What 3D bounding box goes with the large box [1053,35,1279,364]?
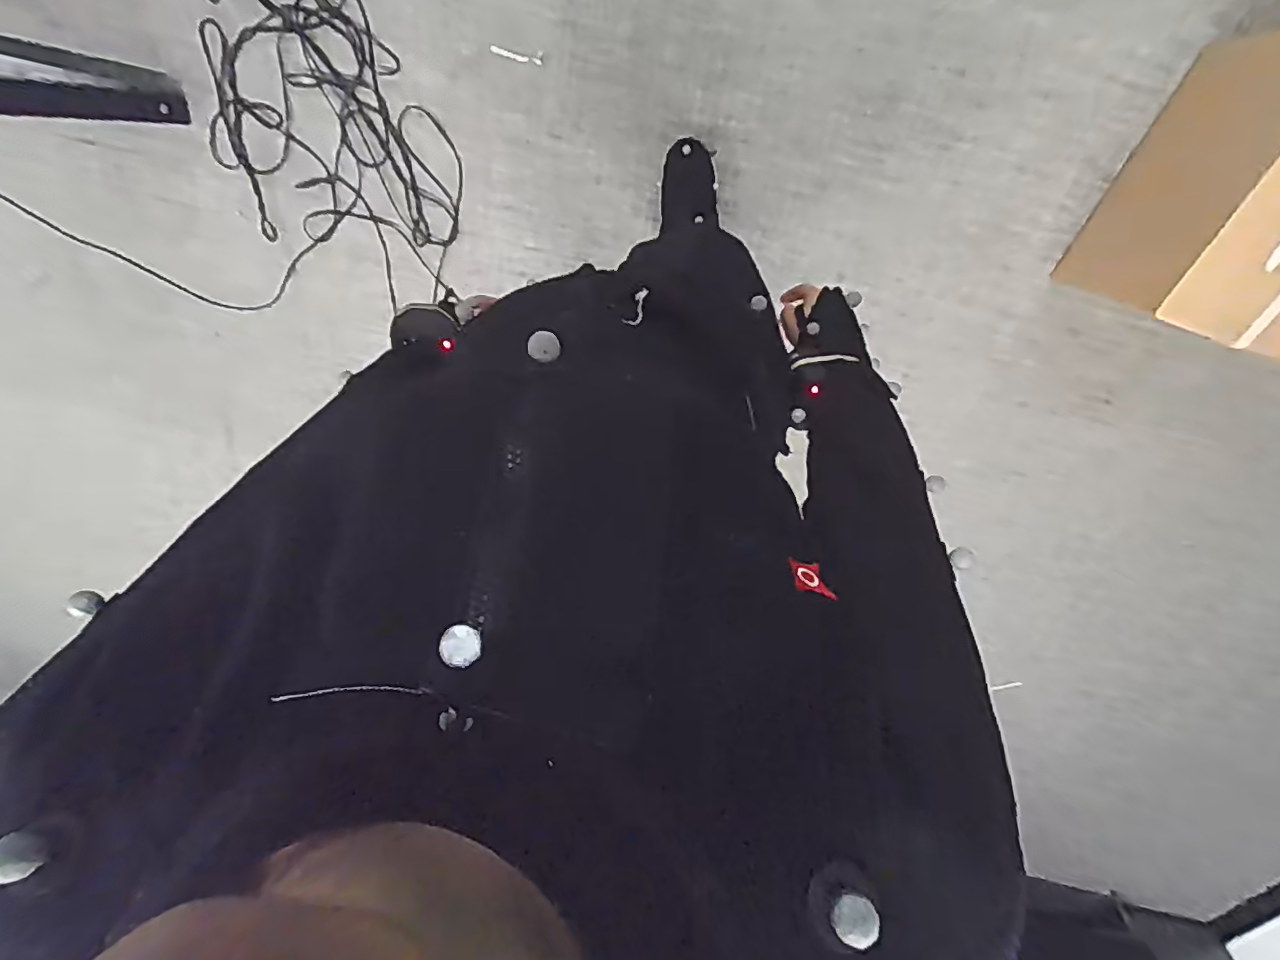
[{"bbox_3d":[1.033,-0.457,0.905,0.320,0.320,0.408,17,123,-2],"label":"large box"}]
